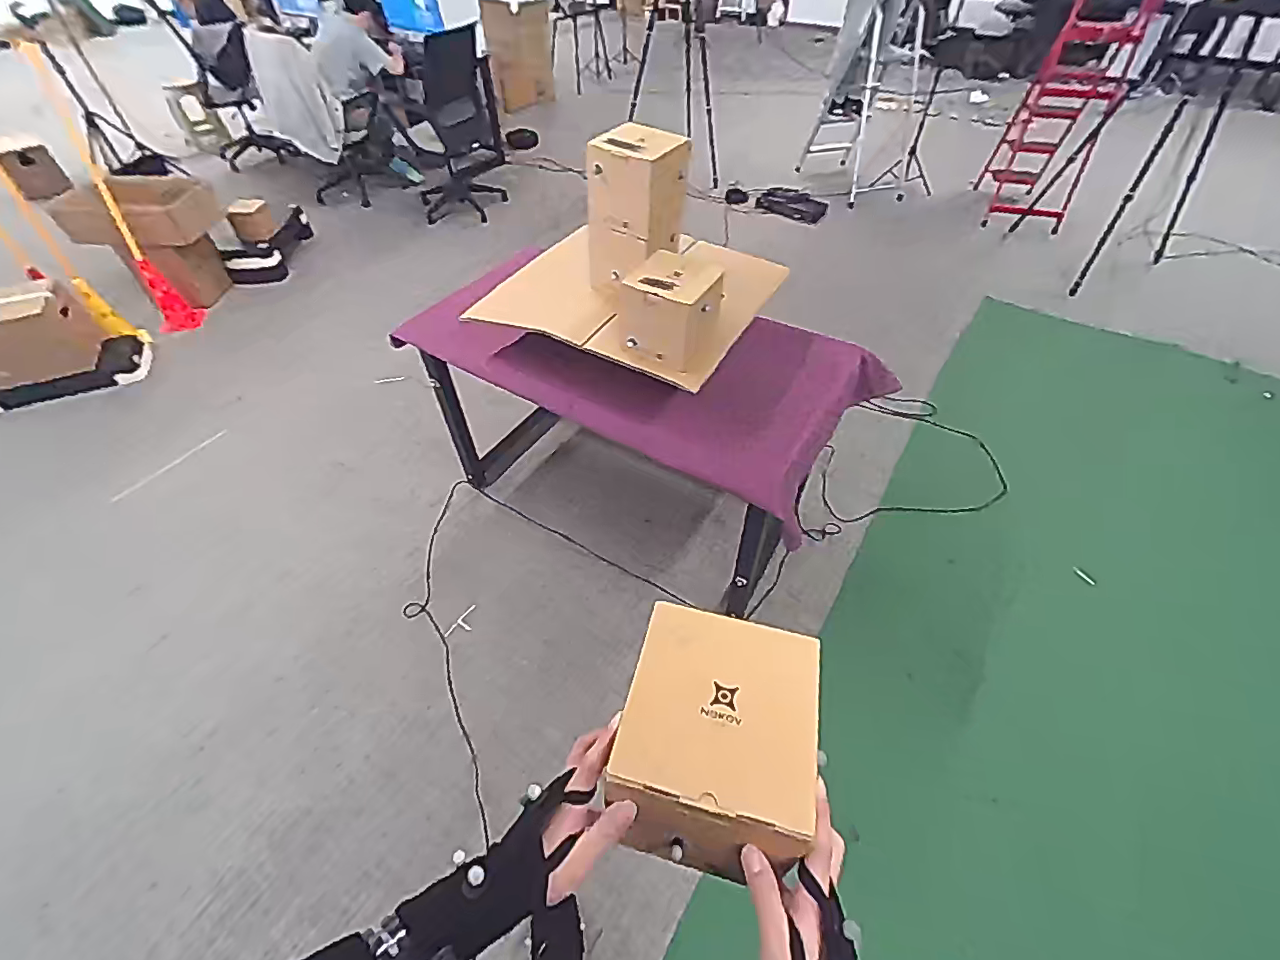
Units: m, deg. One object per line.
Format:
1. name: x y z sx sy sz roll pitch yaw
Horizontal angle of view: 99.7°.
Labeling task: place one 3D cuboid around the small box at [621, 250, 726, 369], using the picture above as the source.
1. small box: 0.073 -0.375 1.199 0.168 0.176 0.179 25 53 18

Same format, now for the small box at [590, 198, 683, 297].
1. small box: -0.011 -0.576 1.363 0.168 0.176 0.179 26 55 18
